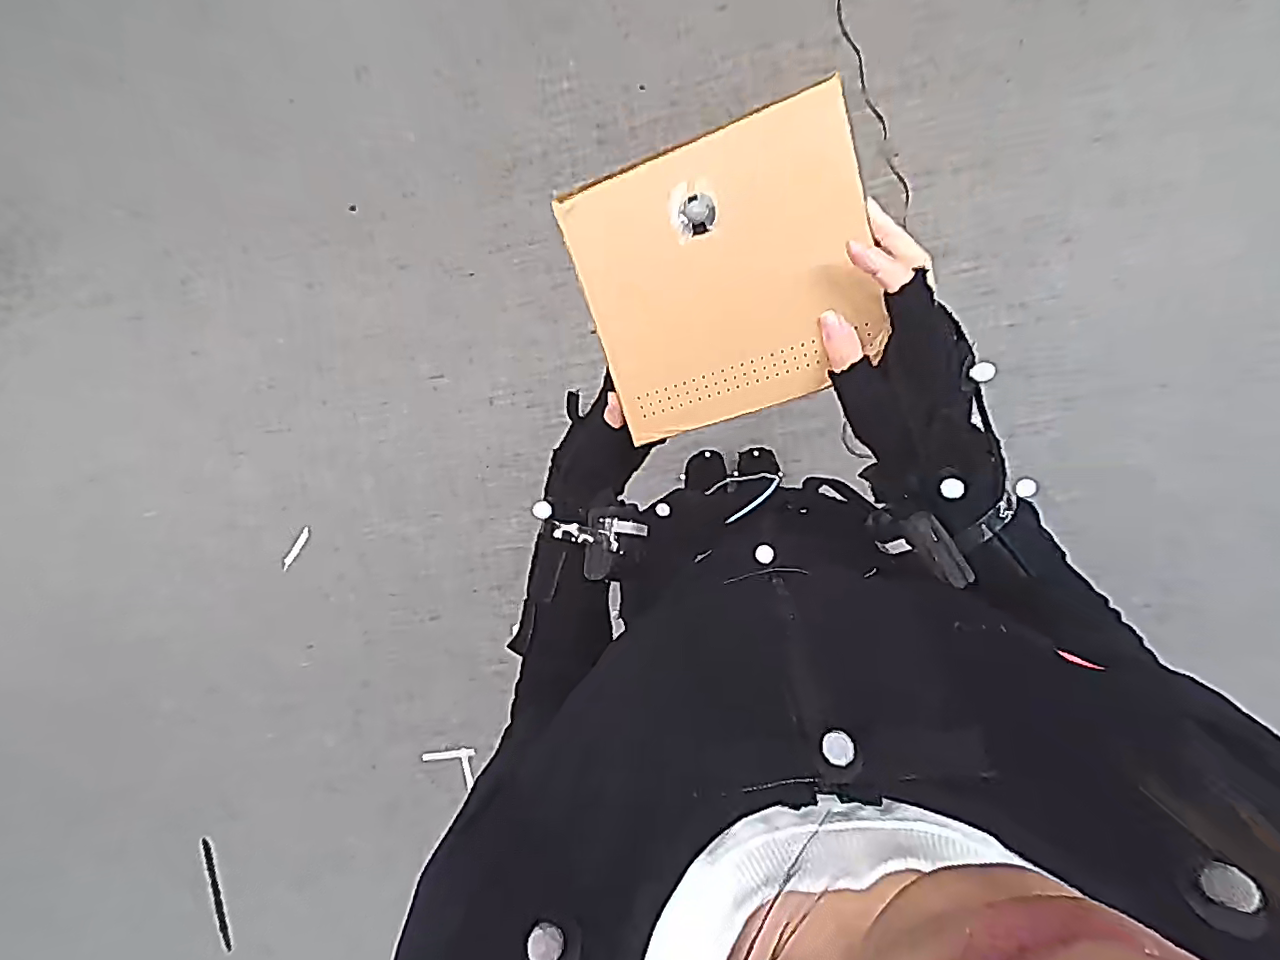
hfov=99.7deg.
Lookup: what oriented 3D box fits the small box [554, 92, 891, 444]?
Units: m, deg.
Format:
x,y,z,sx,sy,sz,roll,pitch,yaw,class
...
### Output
x,y,z,sx,sy,sz,roll,pitch,yaw,class
0.065,-0.139,0.411,0.179,0.168,0.176,-16,104,14,small box
